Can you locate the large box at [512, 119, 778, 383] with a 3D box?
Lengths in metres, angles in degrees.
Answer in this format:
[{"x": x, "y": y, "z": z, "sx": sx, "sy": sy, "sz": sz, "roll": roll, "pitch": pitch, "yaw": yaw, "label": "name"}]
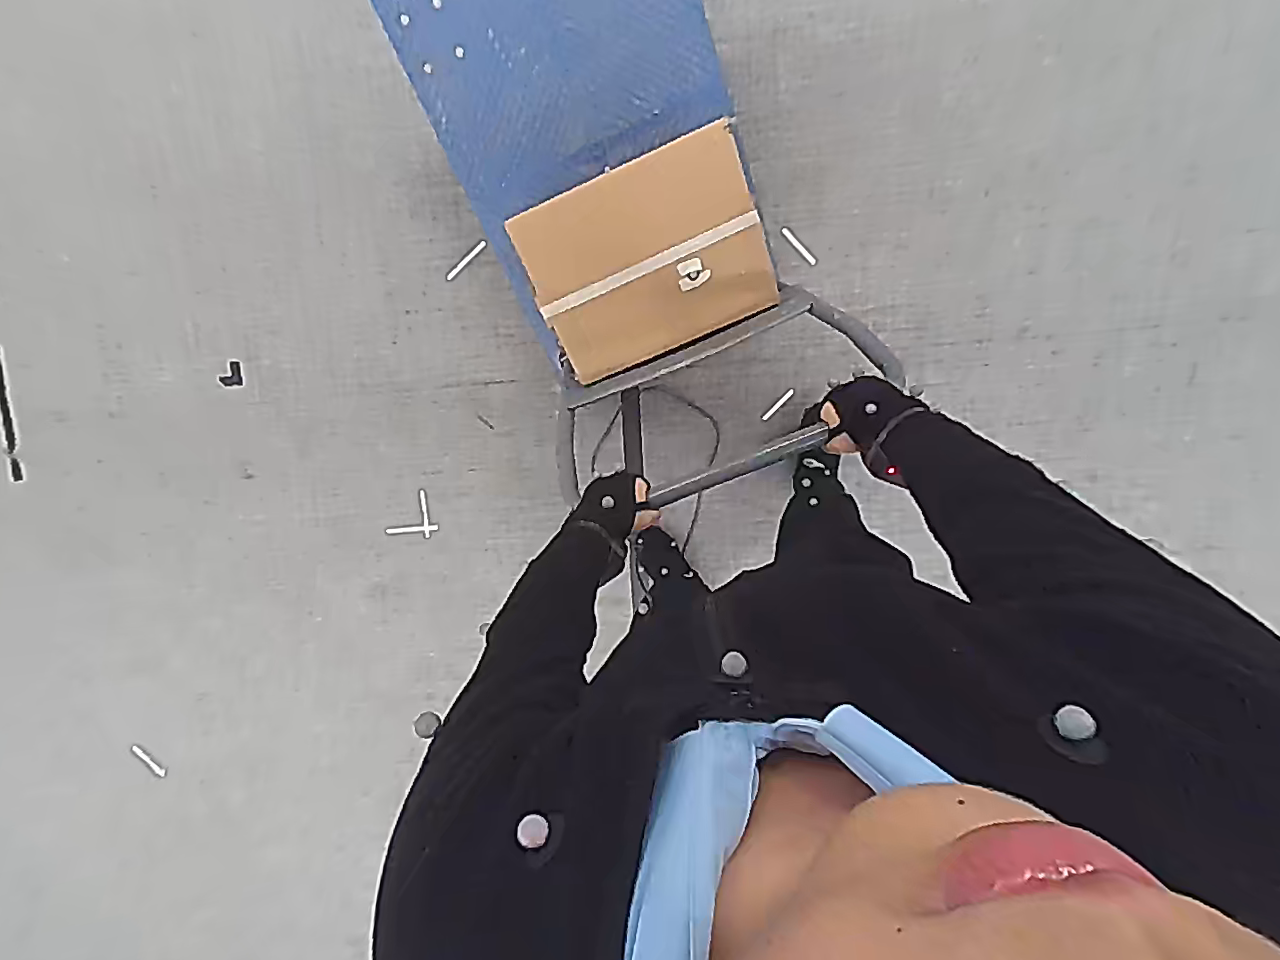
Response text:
[{"x": 0.005, "y": -0.451, "z": 1.100, "sx": 0.408, "sy": 0.320, "sz": 0.320, "roll": -24, "pitch": 116, "yaw": 6, "label": "large box"}]
